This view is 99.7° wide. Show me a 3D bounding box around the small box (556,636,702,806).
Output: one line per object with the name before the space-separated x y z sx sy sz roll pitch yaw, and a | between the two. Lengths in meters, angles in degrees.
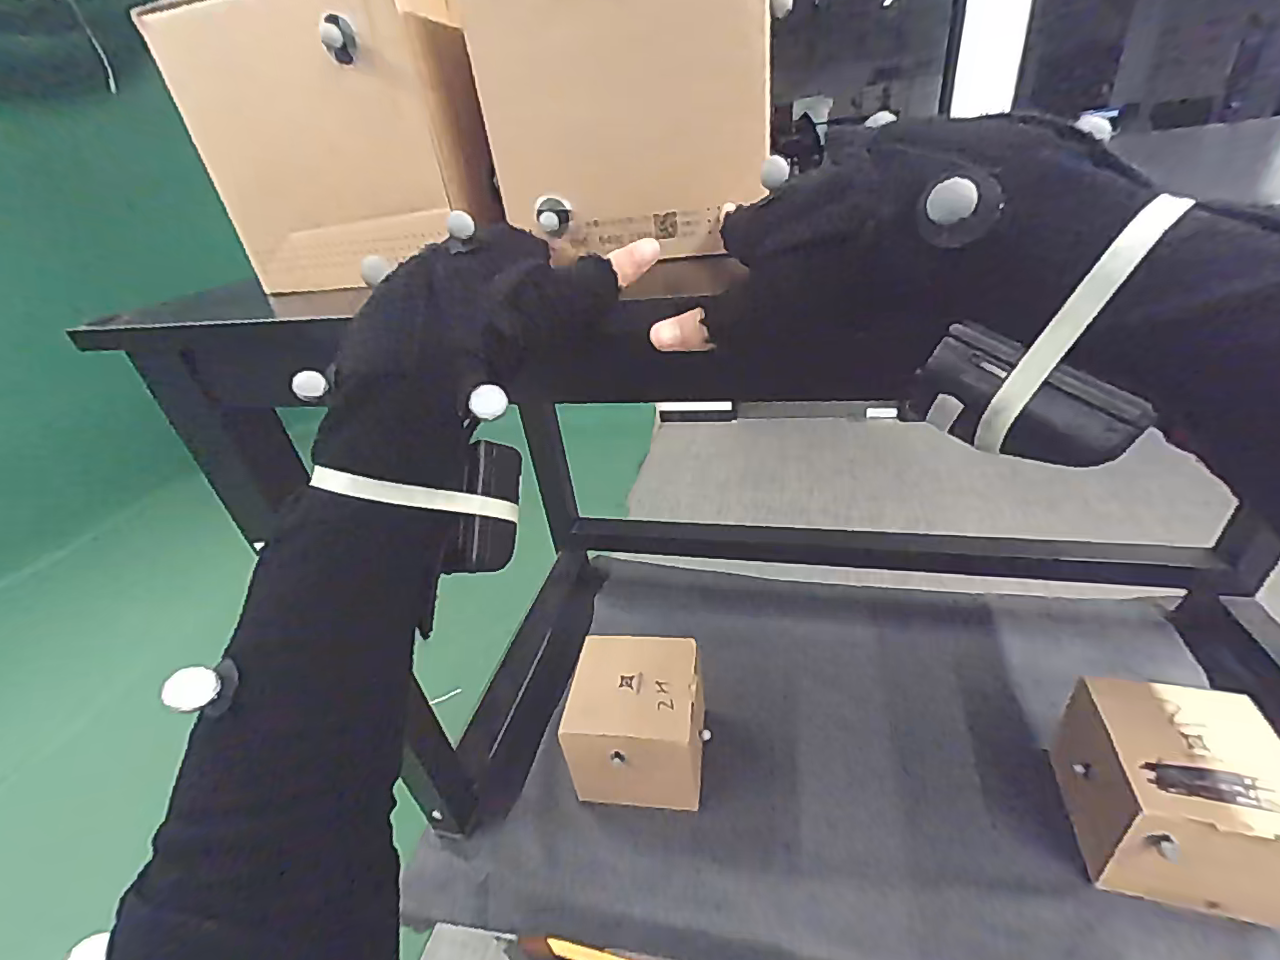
small box | -0.005 0.353 0.800 0.179 0.176 0.168 -1 33 11

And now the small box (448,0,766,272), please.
small box | 0.001 -0.248 0.375 0.168 0.176 0.179 0 32 13
